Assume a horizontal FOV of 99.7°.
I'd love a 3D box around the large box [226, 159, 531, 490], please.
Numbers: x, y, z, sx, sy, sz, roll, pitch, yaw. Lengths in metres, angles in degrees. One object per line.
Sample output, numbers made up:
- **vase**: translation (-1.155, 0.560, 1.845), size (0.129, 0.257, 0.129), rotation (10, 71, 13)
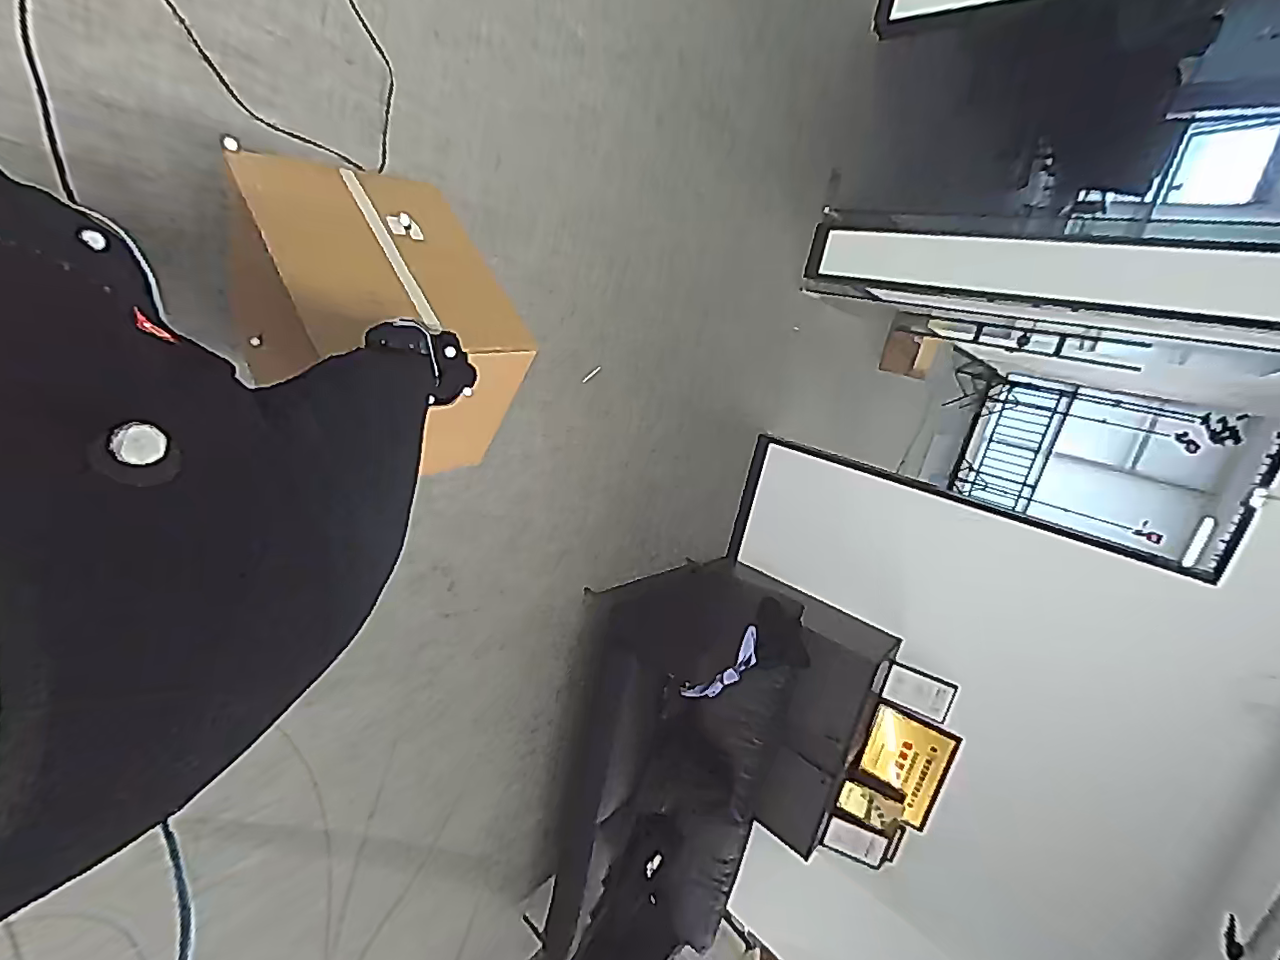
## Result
- **large box**: translation (-0.452, -0.252, 0.919), size (0.320, 0.408, 0.320), rotation (-16, 156, -43)
